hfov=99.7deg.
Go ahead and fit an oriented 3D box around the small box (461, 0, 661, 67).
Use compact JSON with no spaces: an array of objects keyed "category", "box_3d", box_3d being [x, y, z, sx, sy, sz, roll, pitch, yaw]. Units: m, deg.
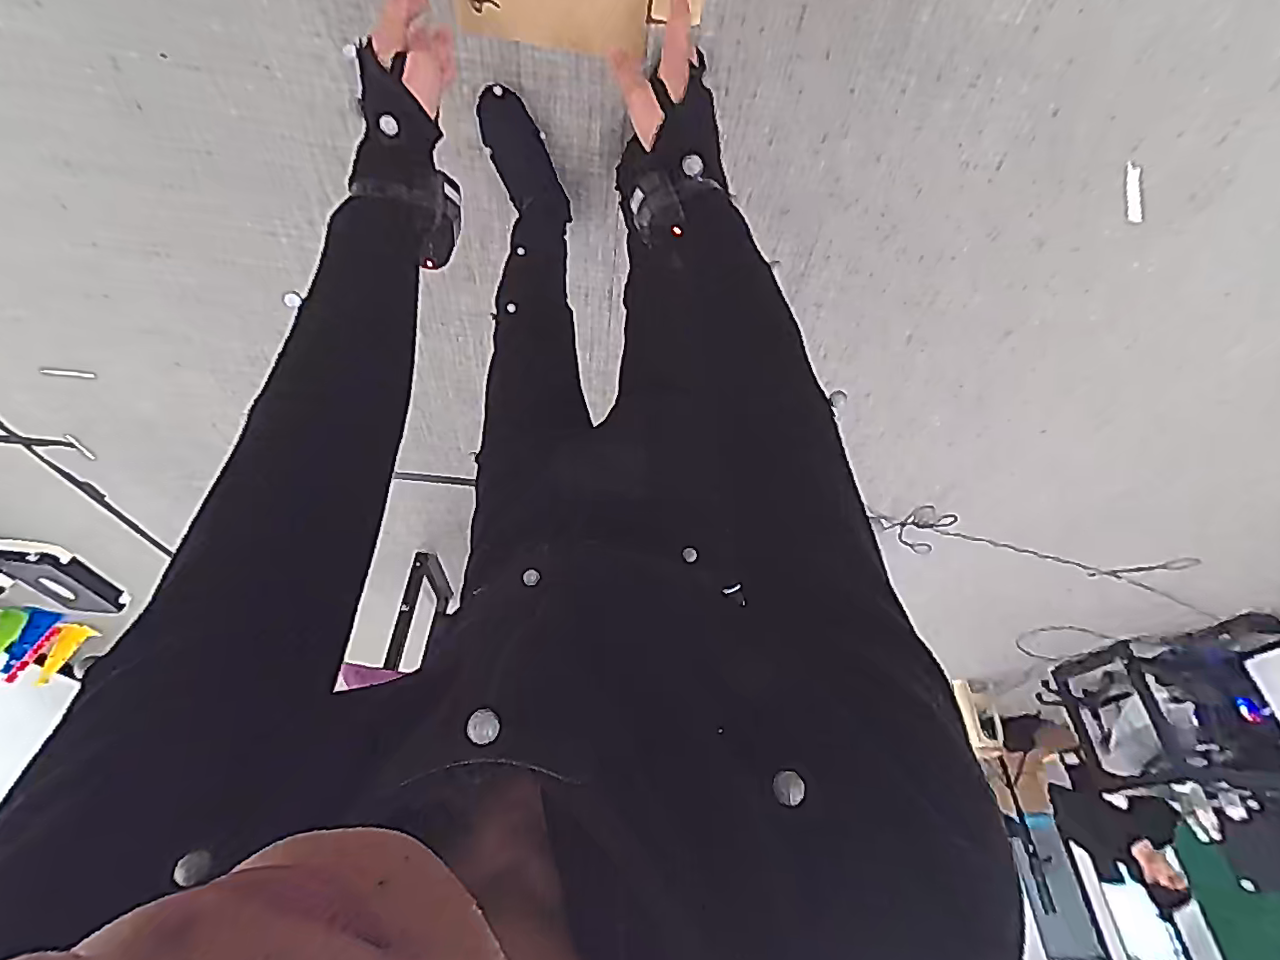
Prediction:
[{"category":"small box","box_3d":[-0.063,-0.512,0.484,0.179,0.176,0.168,6,145,-7]}]
